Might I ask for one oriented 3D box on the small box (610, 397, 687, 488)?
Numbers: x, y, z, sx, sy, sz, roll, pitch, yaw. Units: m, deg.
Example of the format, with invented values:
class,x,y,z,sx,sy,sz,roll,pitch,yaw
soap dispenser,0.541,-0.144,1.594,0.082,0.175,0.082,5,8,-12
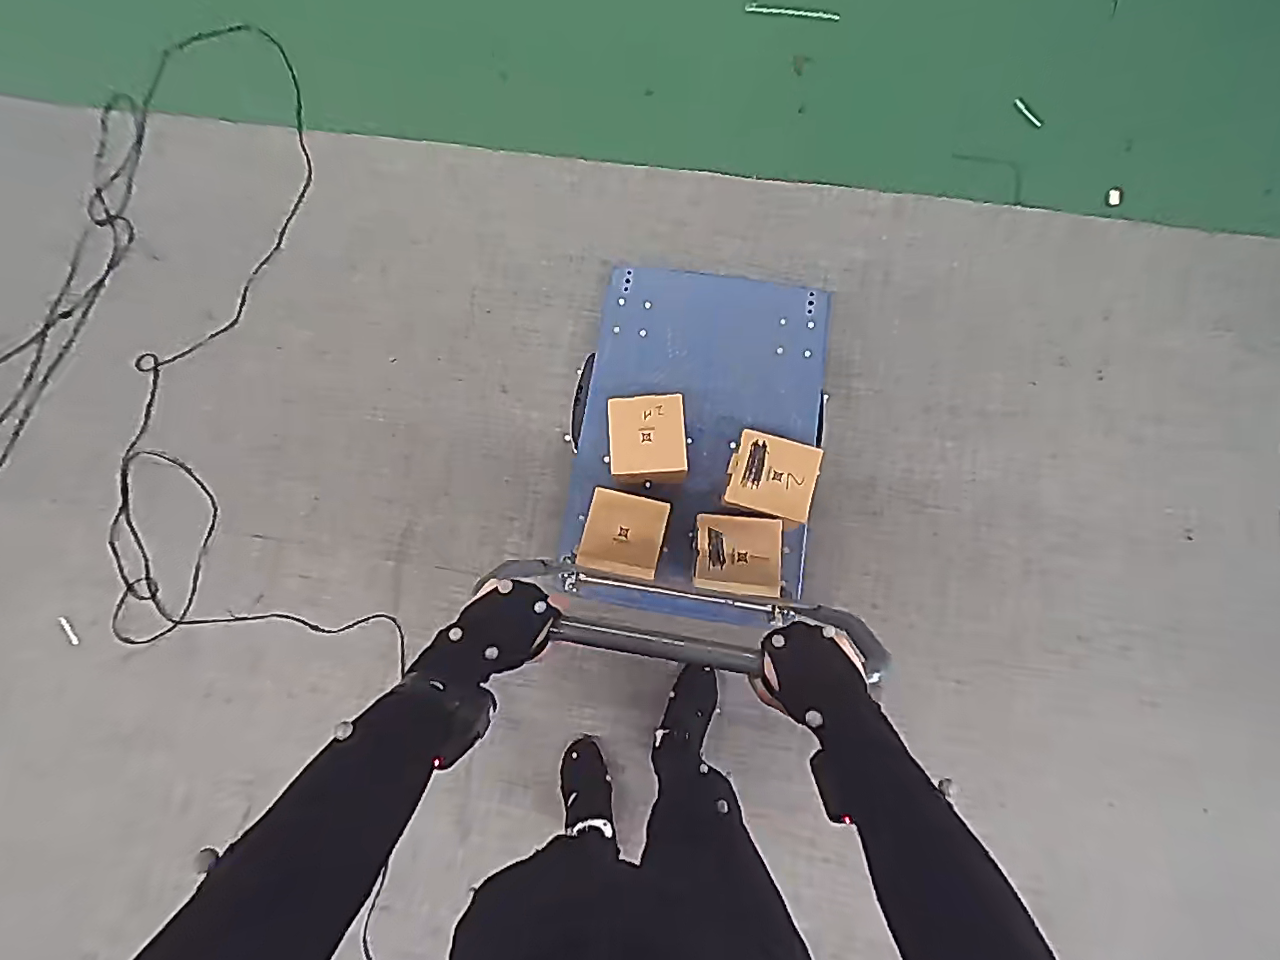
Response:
class,x,y,z,sx,sy,sz,roll,pitch,yaw
small box,0.021,-0.078,1.245,0.168,0.176,0.179,-3,78,2
